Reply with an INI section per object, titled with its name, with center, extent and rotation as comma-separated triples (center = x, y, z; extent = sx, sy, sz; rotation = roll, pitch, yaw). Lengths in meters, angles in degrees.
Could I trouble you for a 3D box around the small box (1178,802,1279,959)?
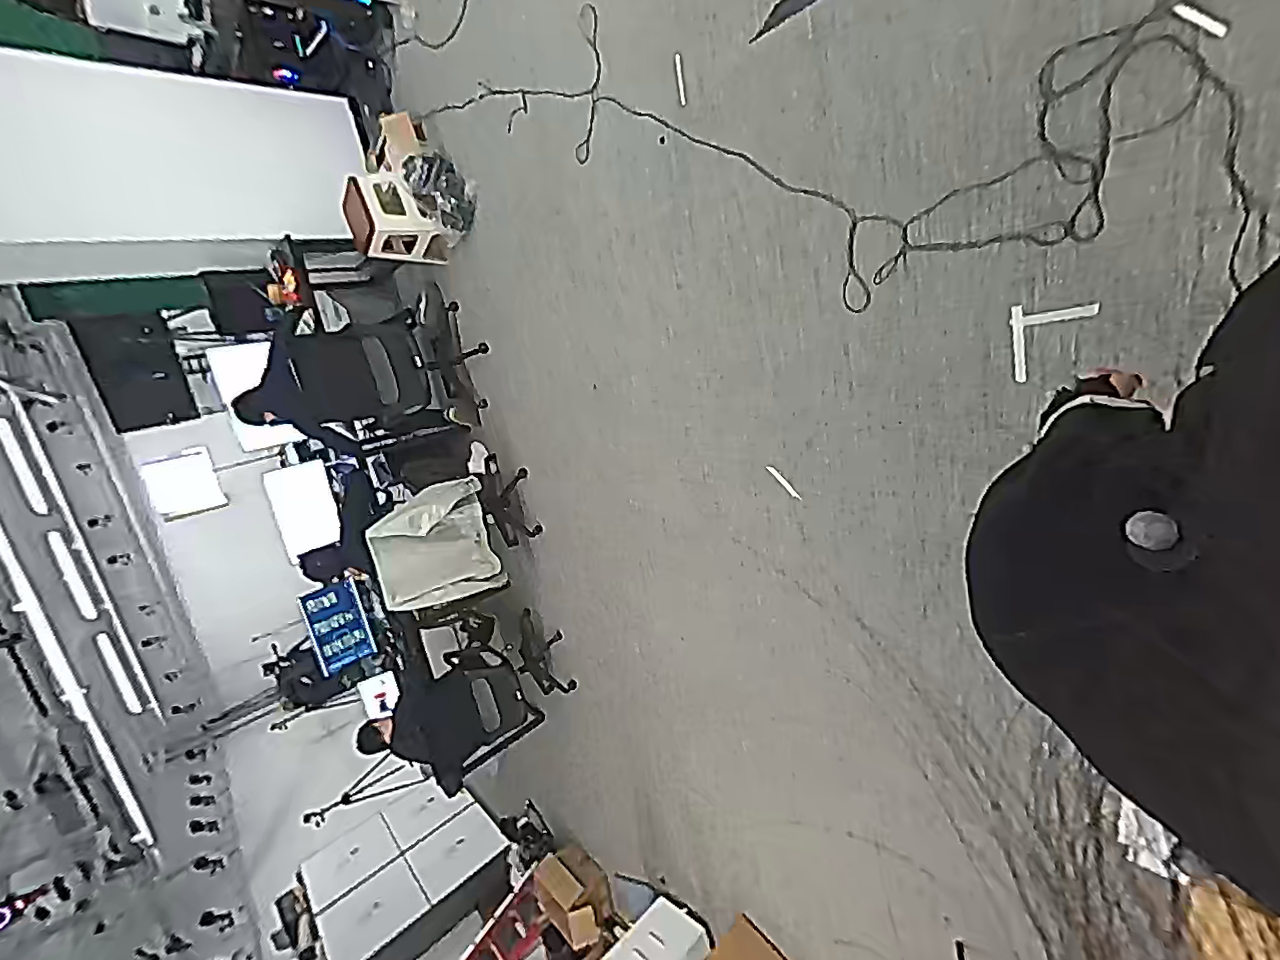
[small box]
center = 0.796, 0.551, 0.669
extent = 0.168, 0.176, 0.179
rotation = 9, 114, 48
